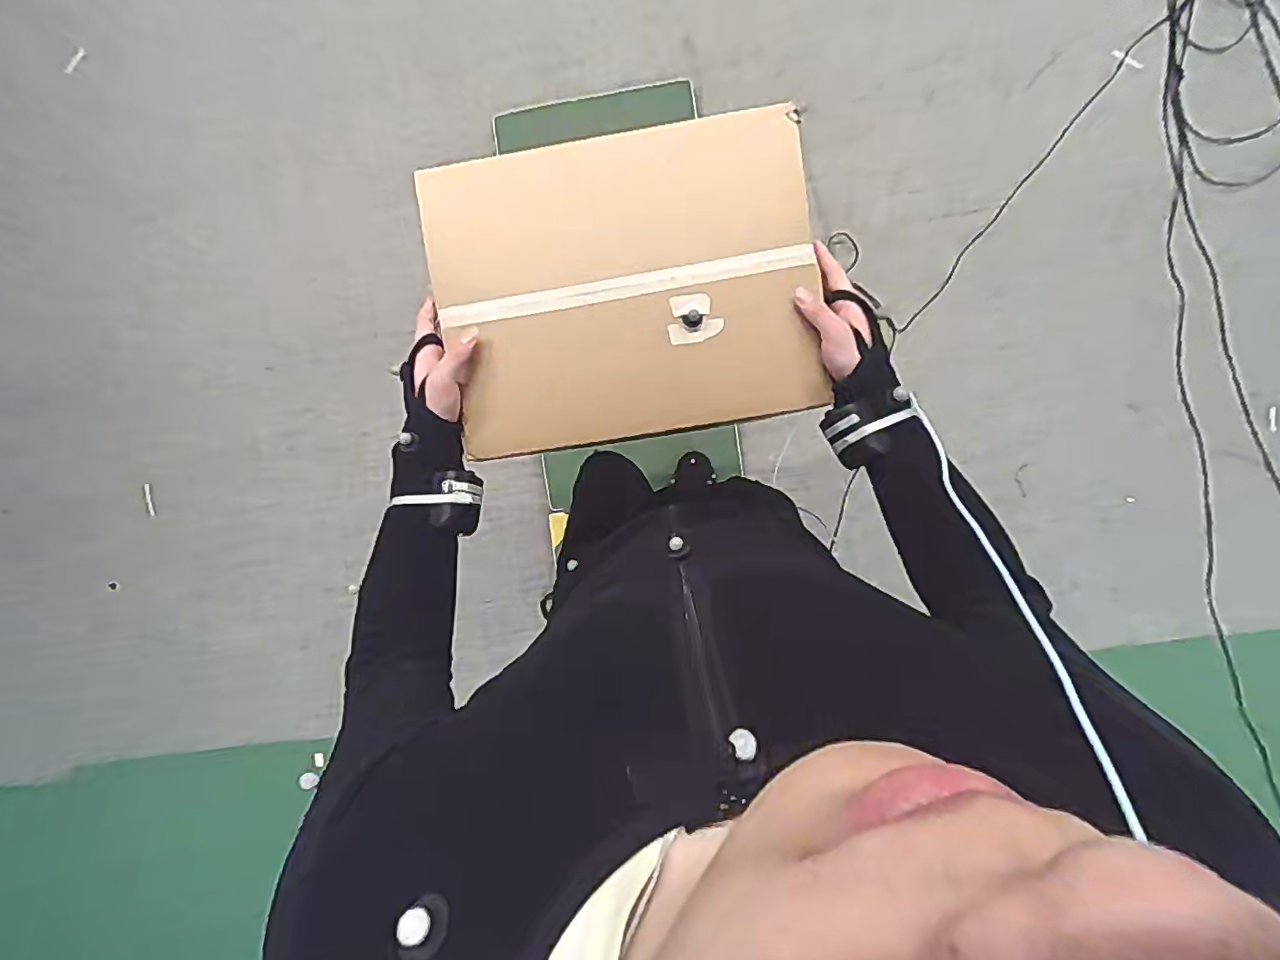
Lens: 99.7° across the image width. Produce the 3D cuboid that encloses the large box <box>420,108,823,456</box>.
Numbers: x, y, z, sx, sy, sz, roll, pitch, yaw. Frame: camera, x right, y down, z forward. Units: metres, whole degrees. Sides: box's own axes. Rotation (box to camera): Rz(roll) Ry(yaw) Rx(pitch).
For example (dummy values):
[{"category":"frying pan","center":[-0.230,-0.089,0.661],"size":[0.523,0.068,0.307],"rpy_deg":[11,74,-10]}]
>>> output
[{"category":"large box","center":[-0.017,-0.219,0.735],"size":[0.408,0.320,0.320],"rpy_deg":[-9,94,2]}]
